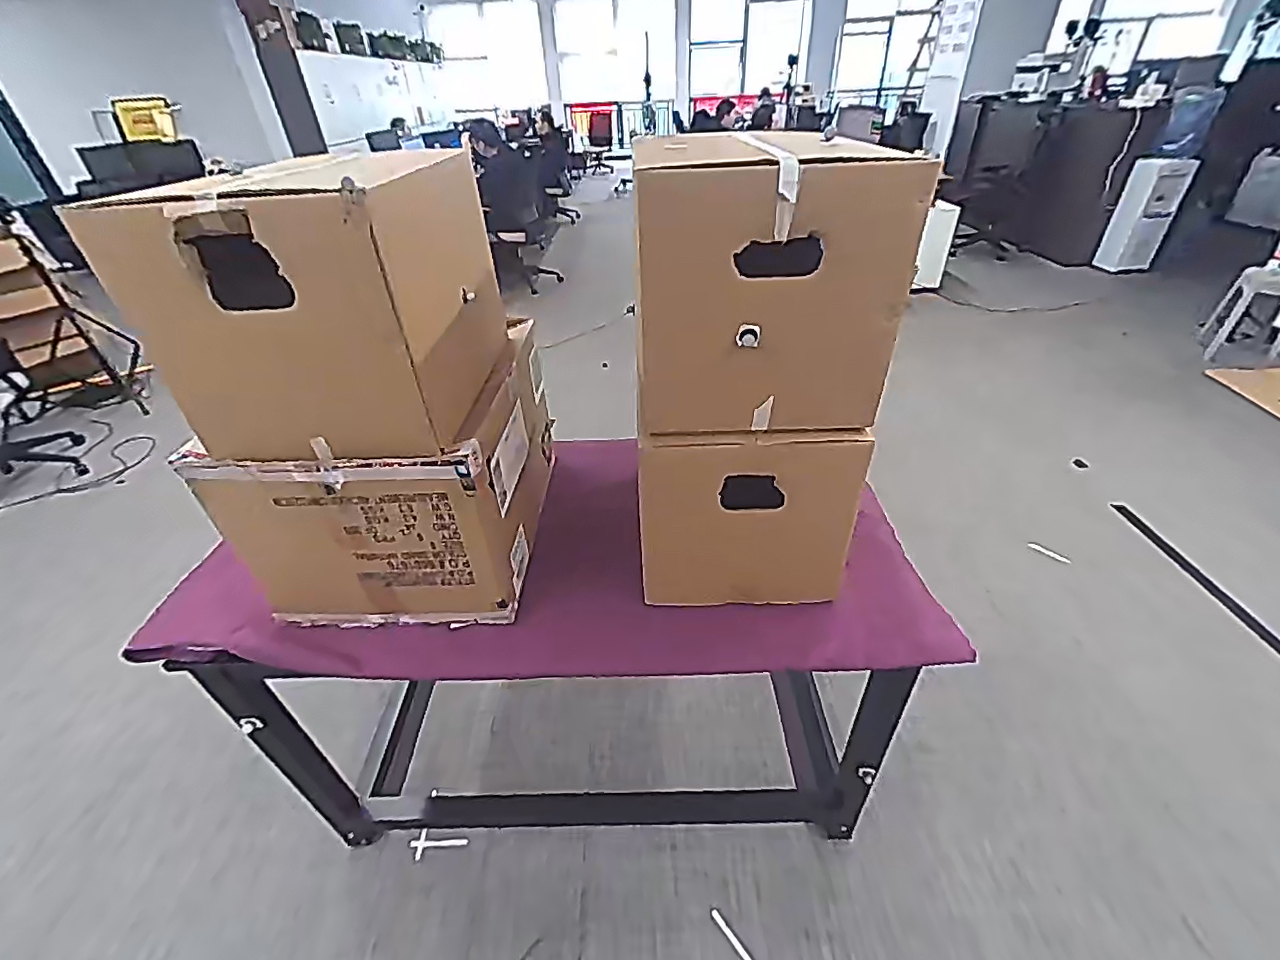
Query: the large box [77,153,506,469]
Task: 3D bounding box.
[{"bbox_3d":[-0.399,-0.260,0.771,0.320,0.320,0.408,-4,37,2],"label":"large box"}]
